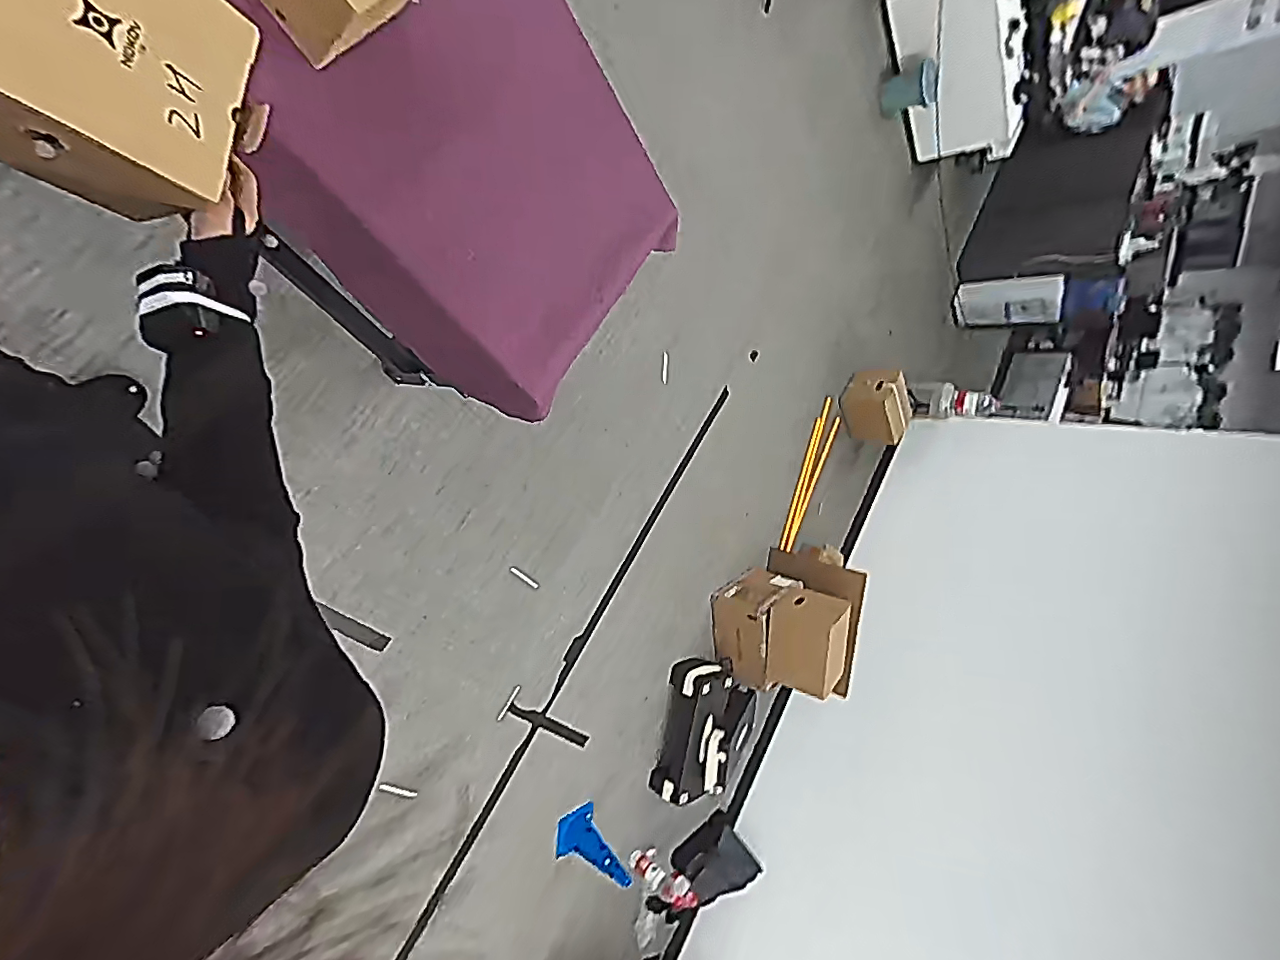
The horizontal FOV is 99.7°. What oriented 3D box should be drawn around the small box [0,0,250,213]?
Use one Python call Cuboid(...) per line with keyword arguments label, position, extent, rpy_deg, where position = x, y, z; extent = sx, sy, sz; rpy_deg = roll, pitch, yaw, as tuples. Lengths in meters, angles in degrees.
Cuboid(label="small box", position=(-0.471, -0.341, 0.439), extent=(0.179, 0.176, 0.168), rpy_deg=(16, 83, -63))
